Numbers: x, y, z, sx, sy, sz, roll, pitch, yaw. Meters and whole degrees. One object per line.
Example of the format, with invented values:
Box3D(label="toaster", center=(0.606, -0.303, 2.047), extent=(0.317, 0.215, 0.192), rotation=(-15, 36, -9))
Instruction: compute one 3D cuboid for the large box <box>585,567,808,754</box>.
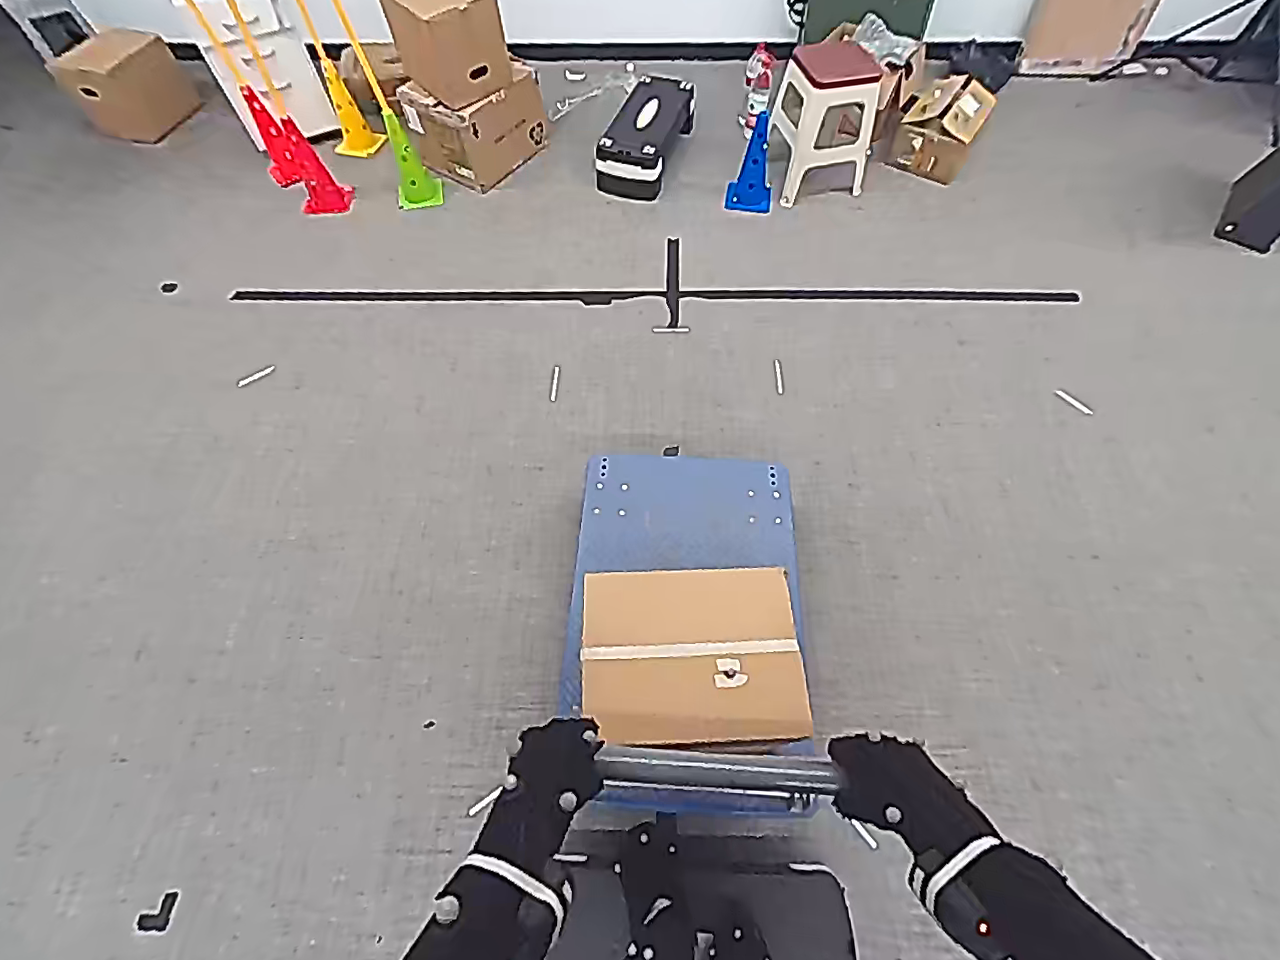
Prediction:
Box3D(label="large box", center=(0.092, 0.394, 1.157), extent=(0.408, 0.320, 0.320), rotation=(-2, 61, -2))
